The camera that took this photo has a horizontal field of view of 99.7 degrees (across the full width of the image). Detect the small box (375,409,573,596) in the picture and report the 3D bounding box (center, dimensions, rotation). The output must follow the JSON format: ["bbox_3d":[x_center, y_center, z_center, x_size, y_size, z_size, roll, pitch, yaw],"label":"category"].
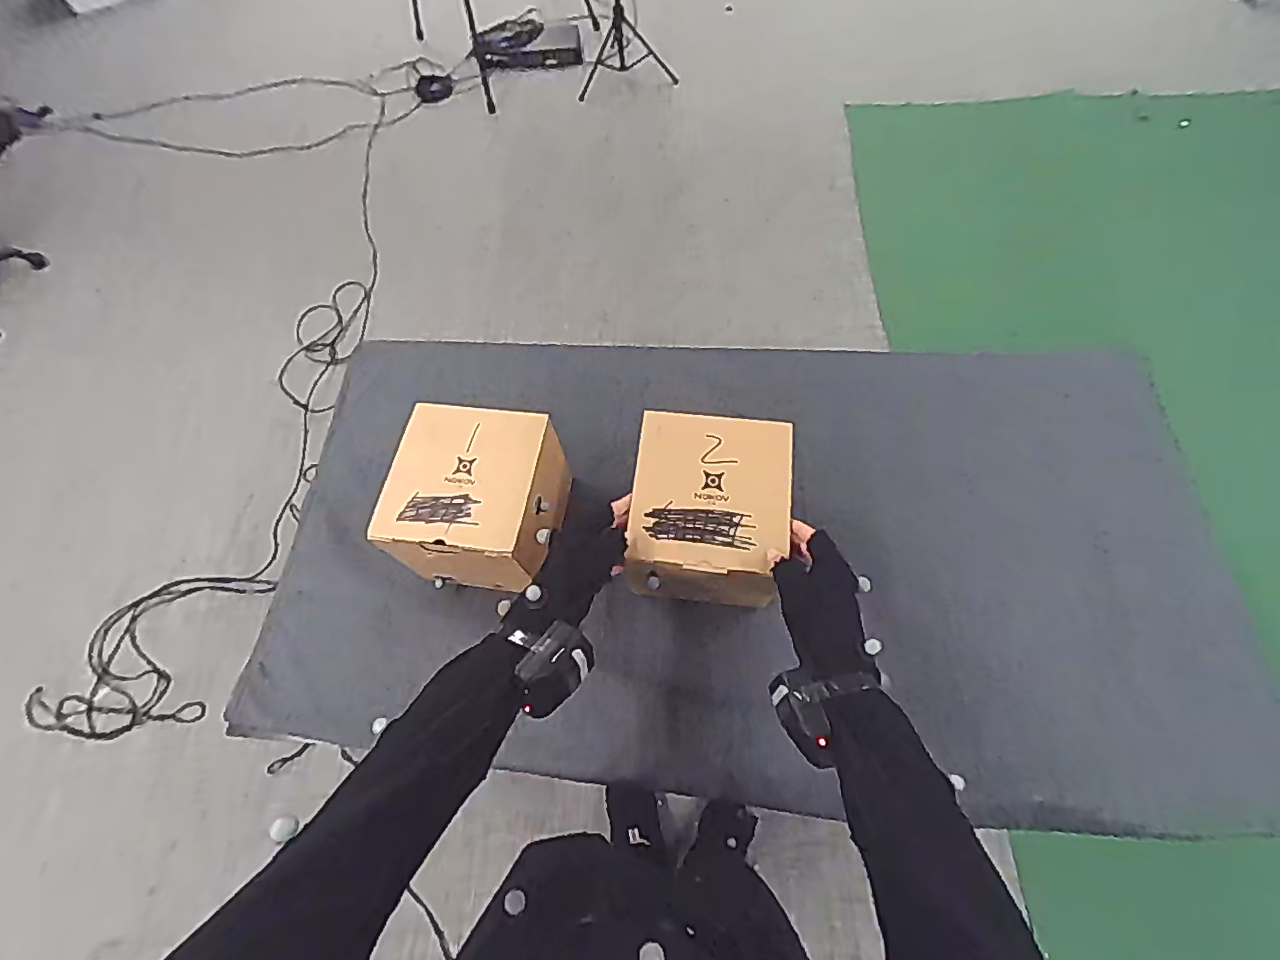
[{"bbox_3d":[-0.189,0.035,0.679,0.168,0.176,0.179,6,63,7],"label":"small box"}]
